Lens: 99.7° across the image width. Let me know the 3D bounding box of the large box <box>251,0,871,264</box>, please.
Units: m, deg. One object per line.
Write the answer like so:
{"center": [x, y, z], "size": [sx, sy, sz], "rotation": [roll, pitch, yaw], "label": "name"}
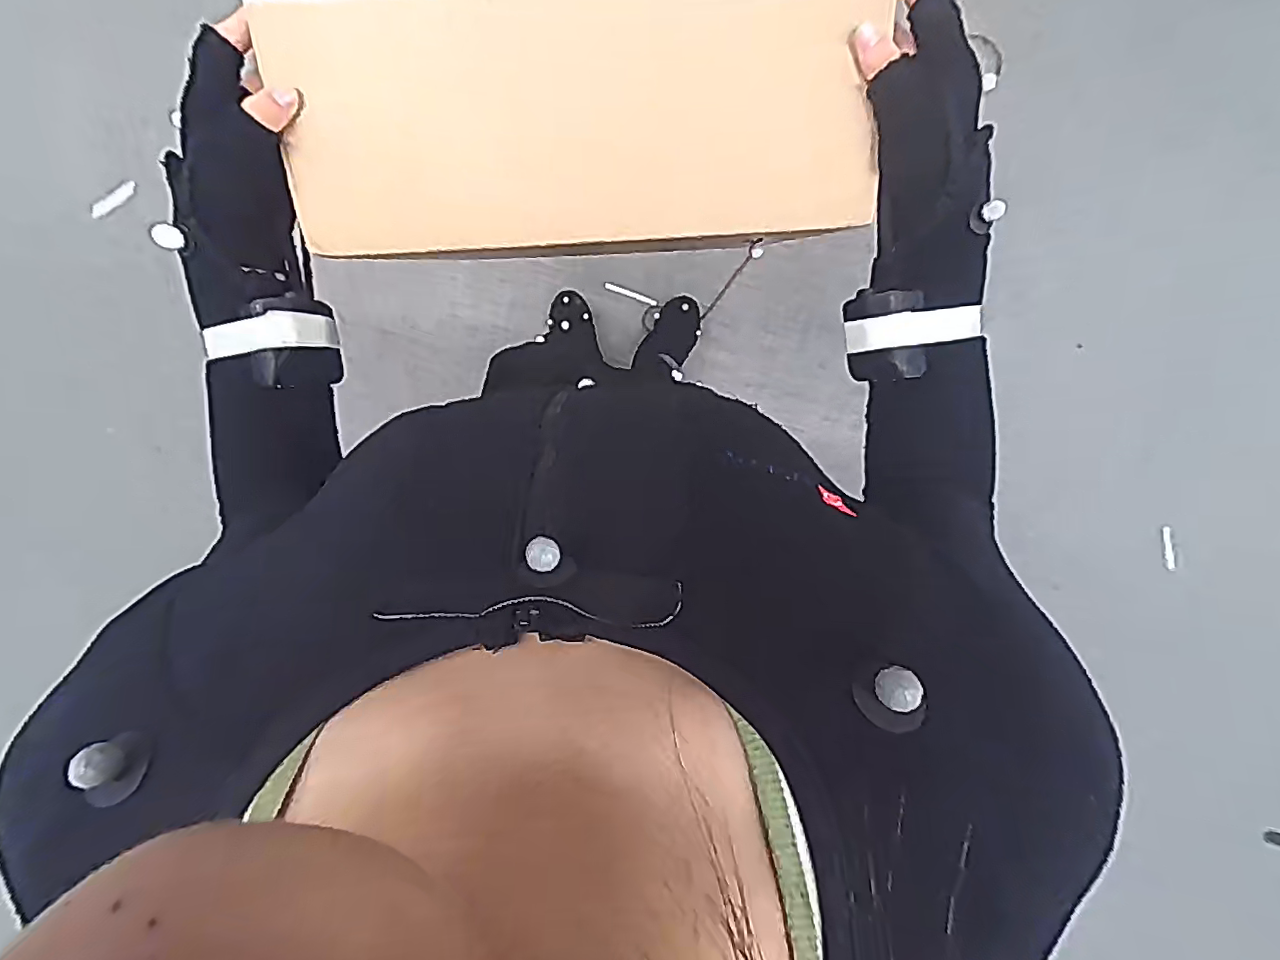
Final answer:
{"center": [-0.051, -0.372, 0.479], "size": [0.408, 0.320, 0.320], "rotation": [-4, 111, 0], "label": "large box"}
